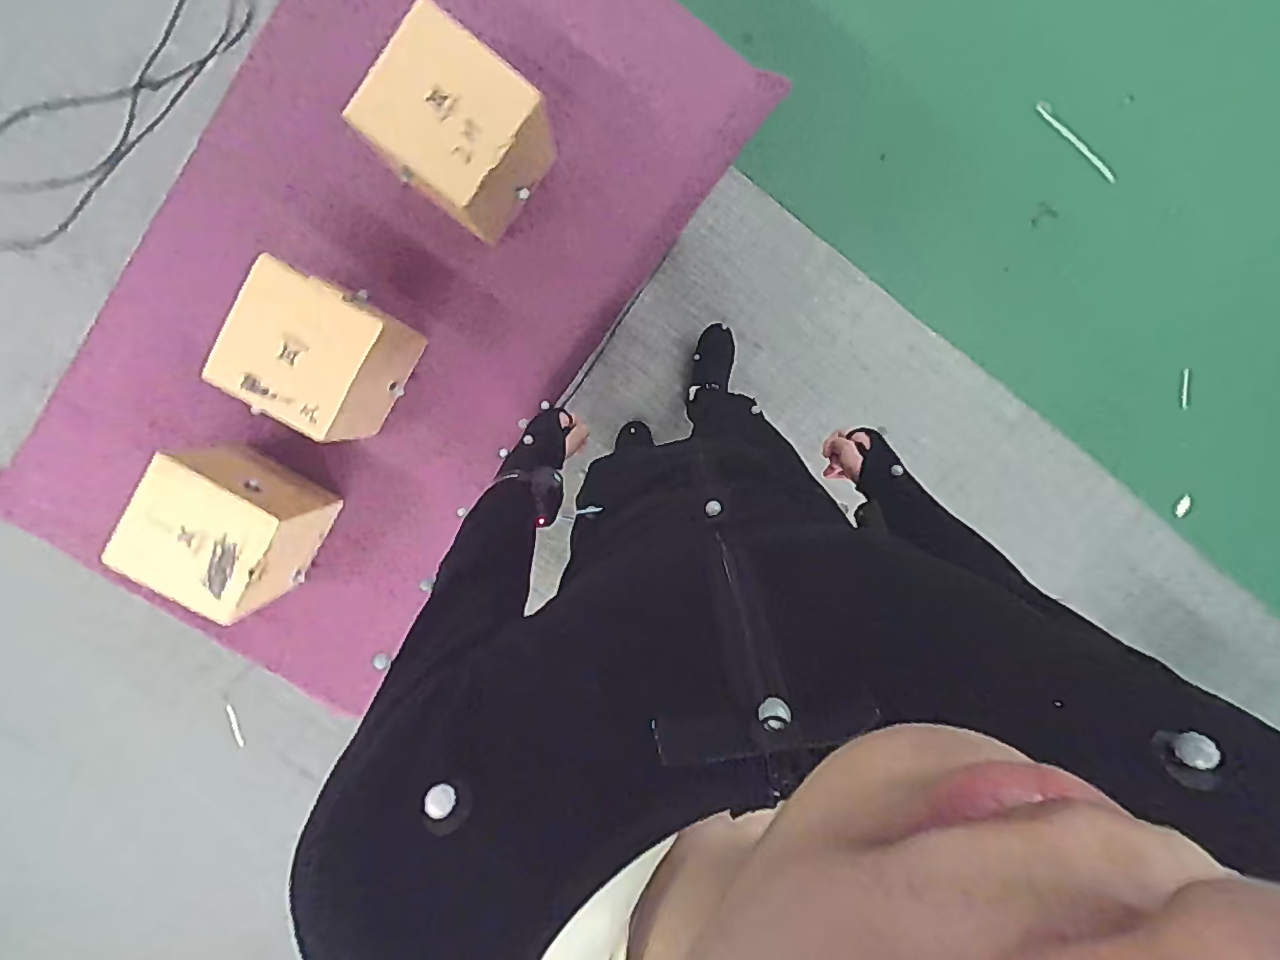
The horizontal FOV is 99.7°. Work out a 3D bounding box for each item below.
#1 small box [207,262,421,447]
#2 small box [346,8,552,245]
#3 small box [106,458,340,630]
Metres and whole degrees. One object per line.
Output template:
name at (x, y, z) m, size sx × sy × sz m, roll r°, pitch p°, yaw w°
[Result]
small box at (-0.432, -0.164, 0.754) m, size 0.168 × 0.176 × 0.179 m, roll 30°, pitch 94°, yaw -6°
small box at (-0.240, -0.450, 0.727) m, size 0.179 × 0.176 × 0.168 m, roll 37°, pitch 95°, yaw -7°
small box at (-0.576, 0.078, 0.776) m, size 0.179 × 0.176 × 0.168 m, roll 31°, pitch 94°, yaw -5°
